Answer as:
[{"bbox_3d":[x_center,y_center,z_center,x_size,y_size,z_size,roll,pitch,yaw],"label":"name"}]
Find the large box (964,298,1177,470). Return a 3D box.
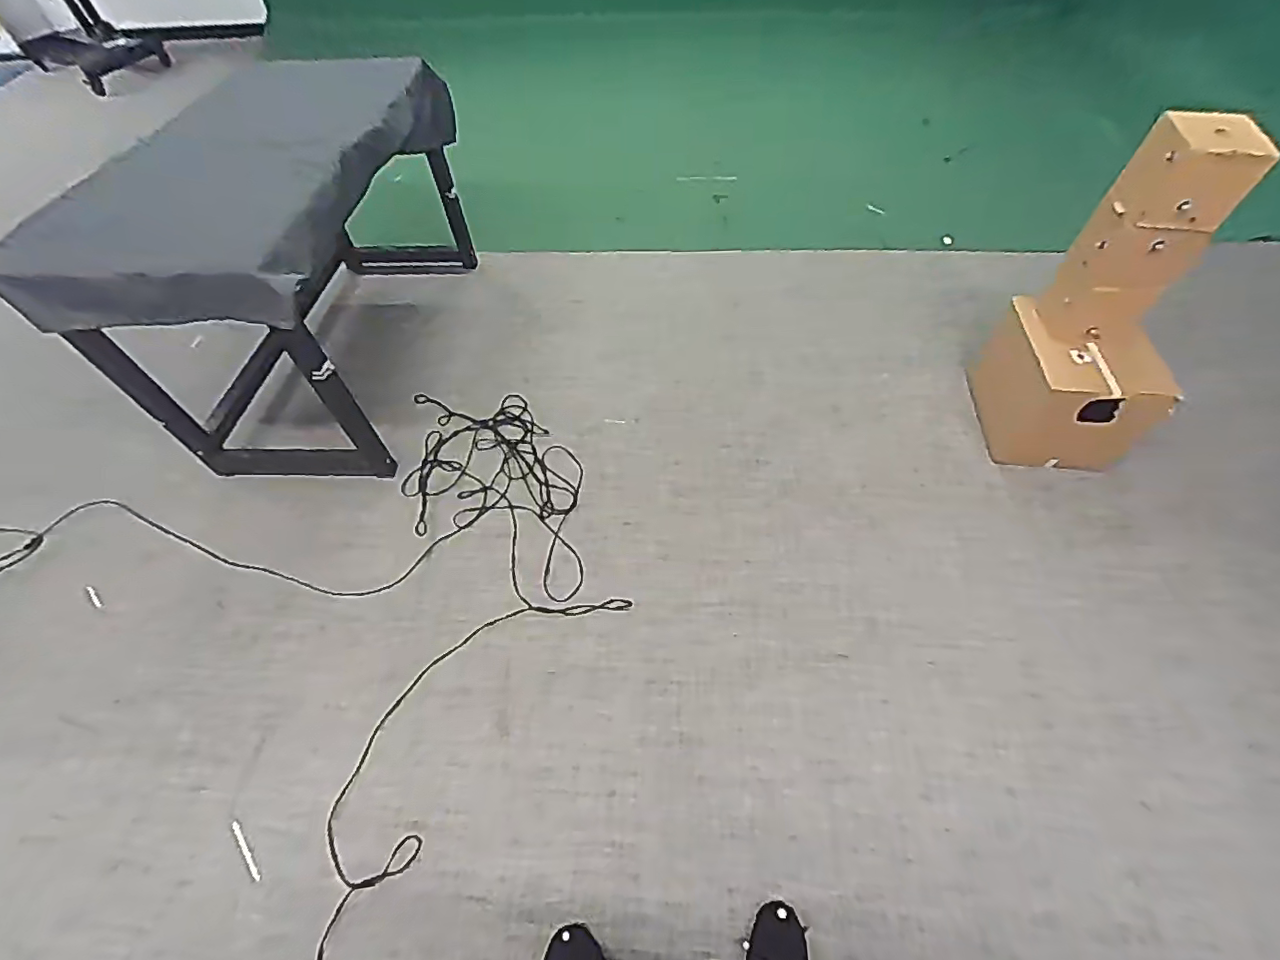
[{"bbox_3d":[1.238,-0.287,1.616,0.320,0.320,0.408,4,56,6],"label":"large box"}]

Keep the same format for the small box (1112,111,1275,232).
[{"bbox_3d":[1.208,-0.684,1.201,0.168,0.176,0.179,8,58,7],"label":"small box"}]

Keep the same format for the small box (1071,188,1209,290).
[{"bbox_3d":[1.212,-0.591,1.334,0.179,0.176,0.168,7,57,6],"label":"small box"}]
